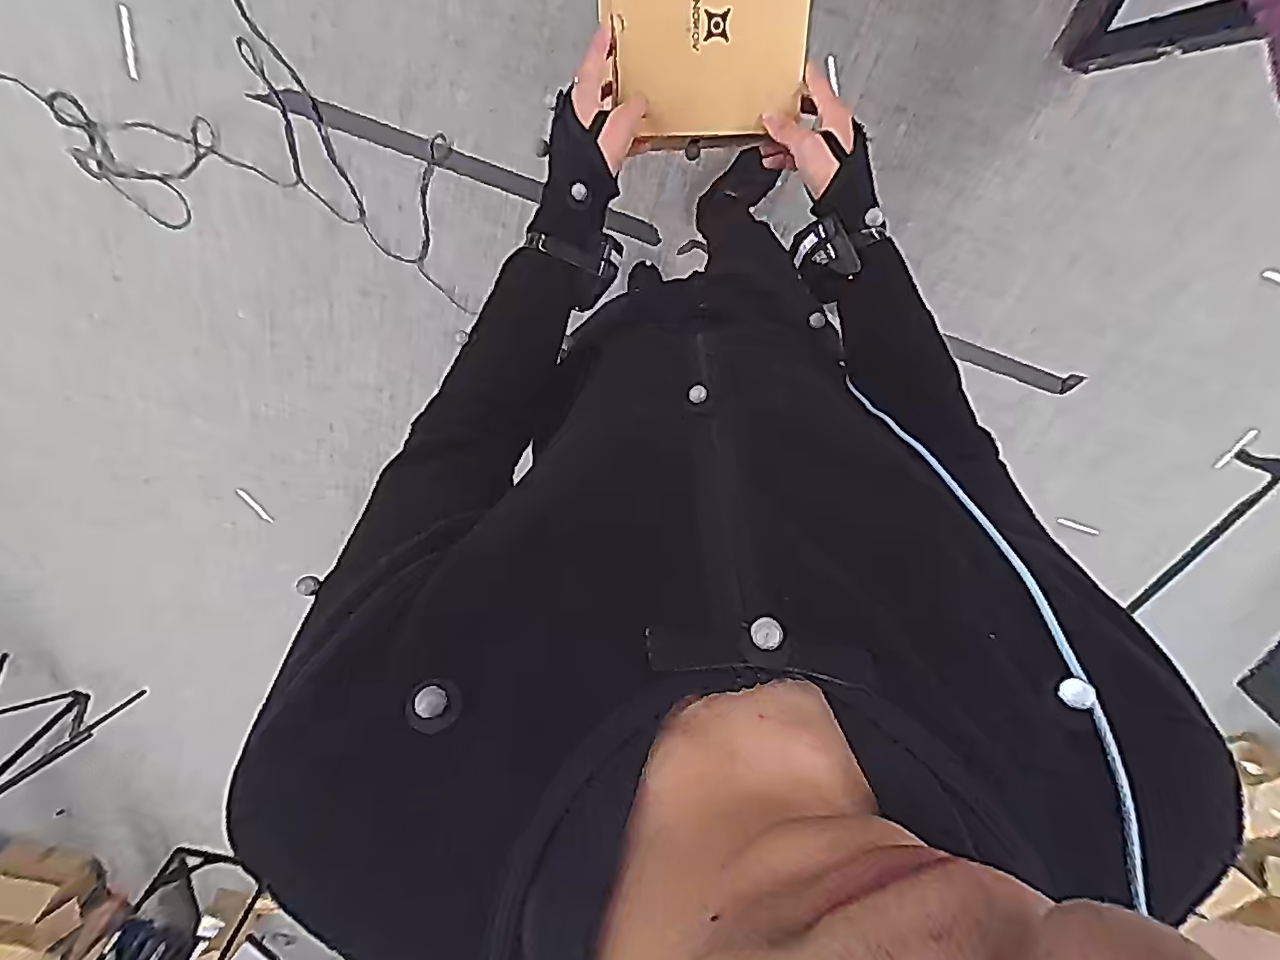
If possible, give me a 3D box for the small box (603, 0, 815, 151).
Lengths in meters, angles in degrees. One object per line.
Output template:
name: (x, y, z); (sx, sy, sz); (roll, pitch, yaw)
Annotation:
small box: (0.057, -0.428, 0.535); (0.179, 0.176, 0.168); (-4, 119, -4)
